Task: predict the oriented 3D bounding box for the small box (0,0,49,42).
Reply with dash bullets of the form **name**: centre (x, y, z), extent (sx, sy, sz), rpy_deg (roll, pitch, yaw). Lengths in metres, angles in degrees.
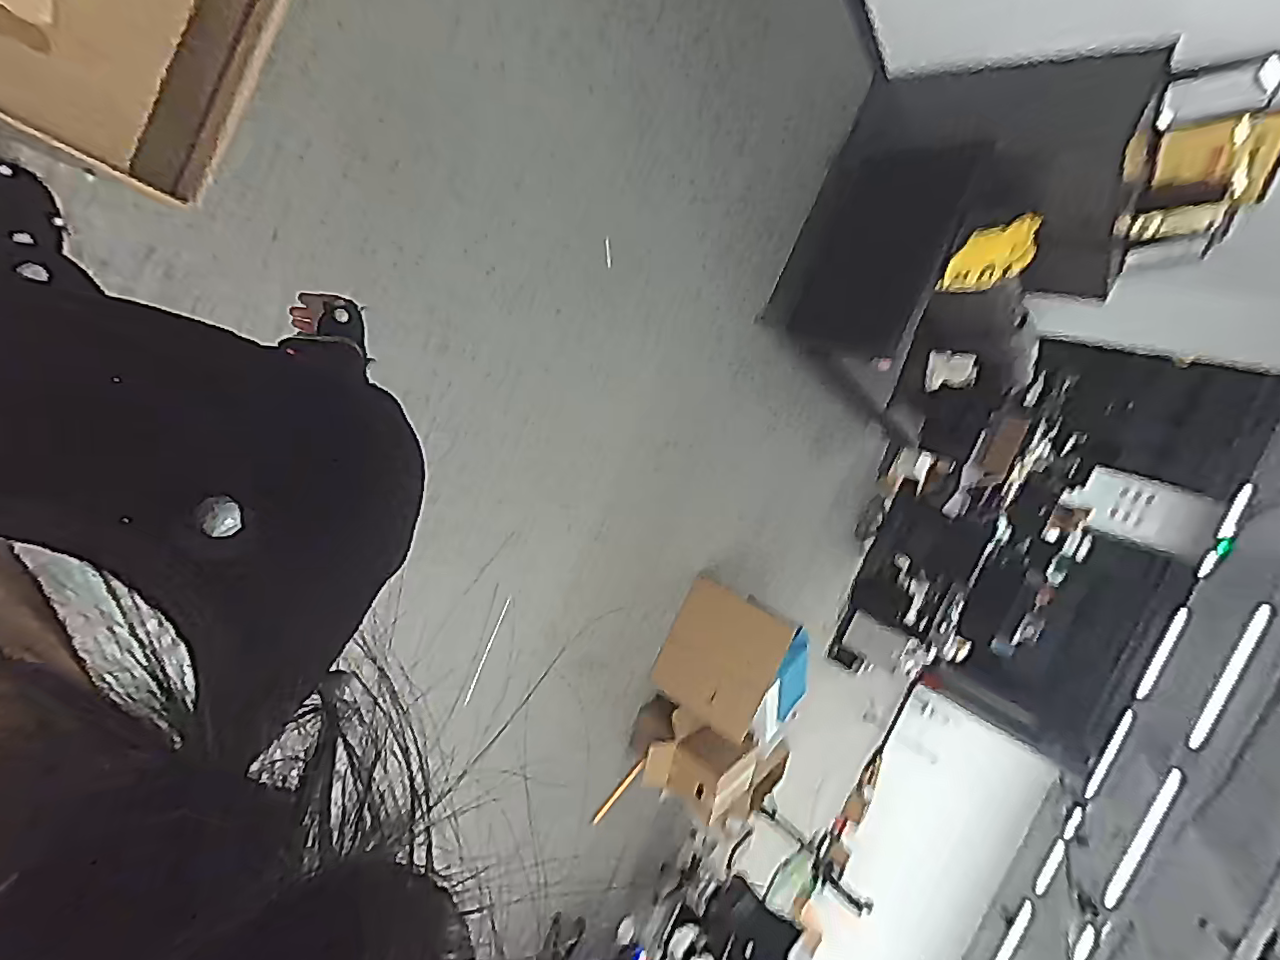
- **small box**: centre (-0.689, -0.570, 0.520), extent (0.168, 0.176, 0.179), rpy_deg (4, 108, -49)
